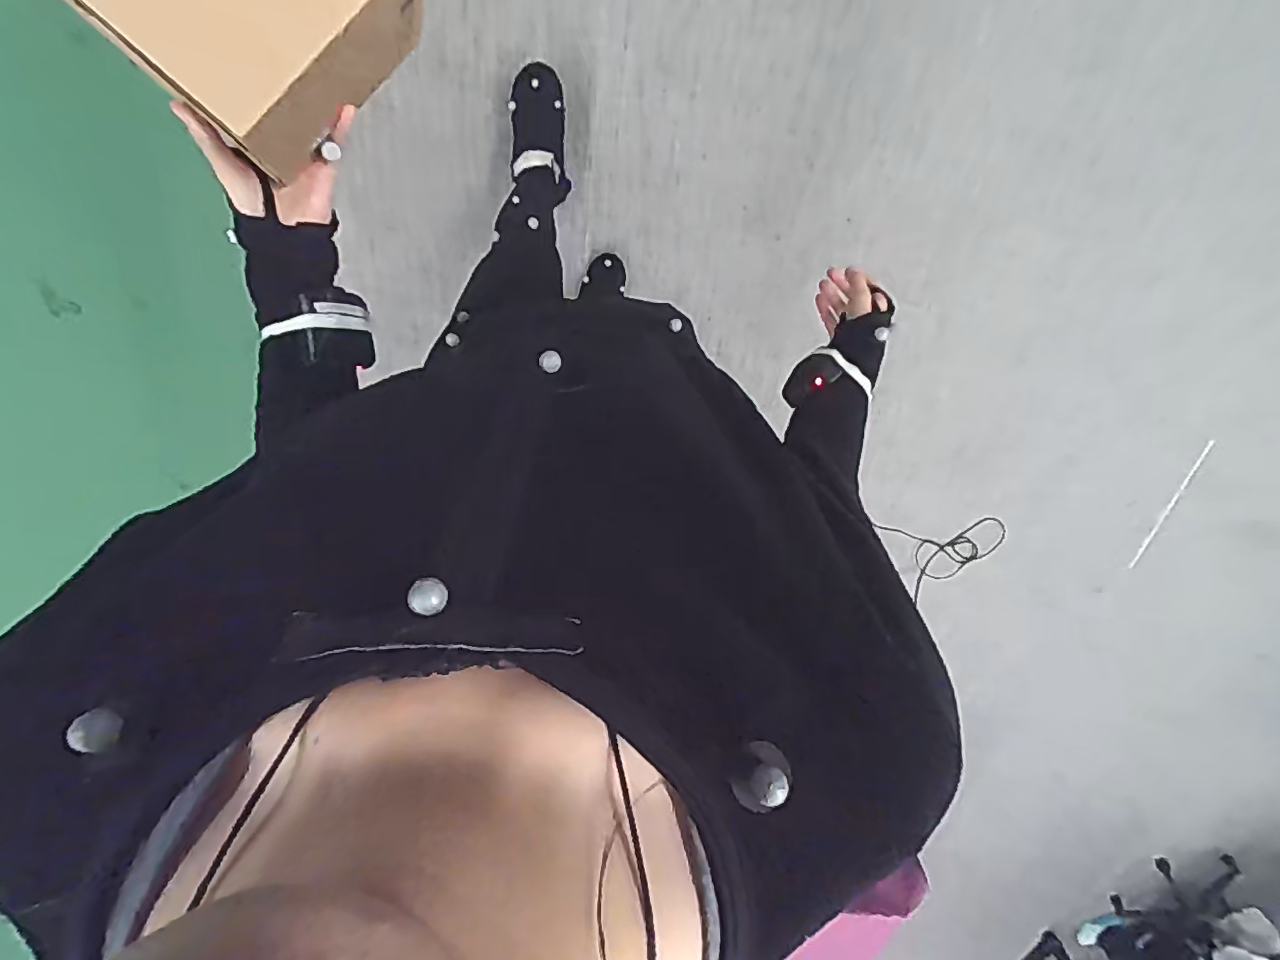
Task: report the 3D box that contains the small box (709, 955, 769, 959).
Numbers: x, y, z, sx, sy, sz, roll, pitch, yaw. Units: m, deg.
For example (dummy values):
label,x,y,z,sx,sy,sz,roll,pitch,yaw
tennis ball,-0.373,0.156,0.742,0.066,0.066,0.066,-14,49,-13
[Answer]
label,x,y,z,sx,sy,sz,roll,pitch,yaw
small box,0.263,1.386,1.419,0.179,0.176,0.168,5,117,-5
